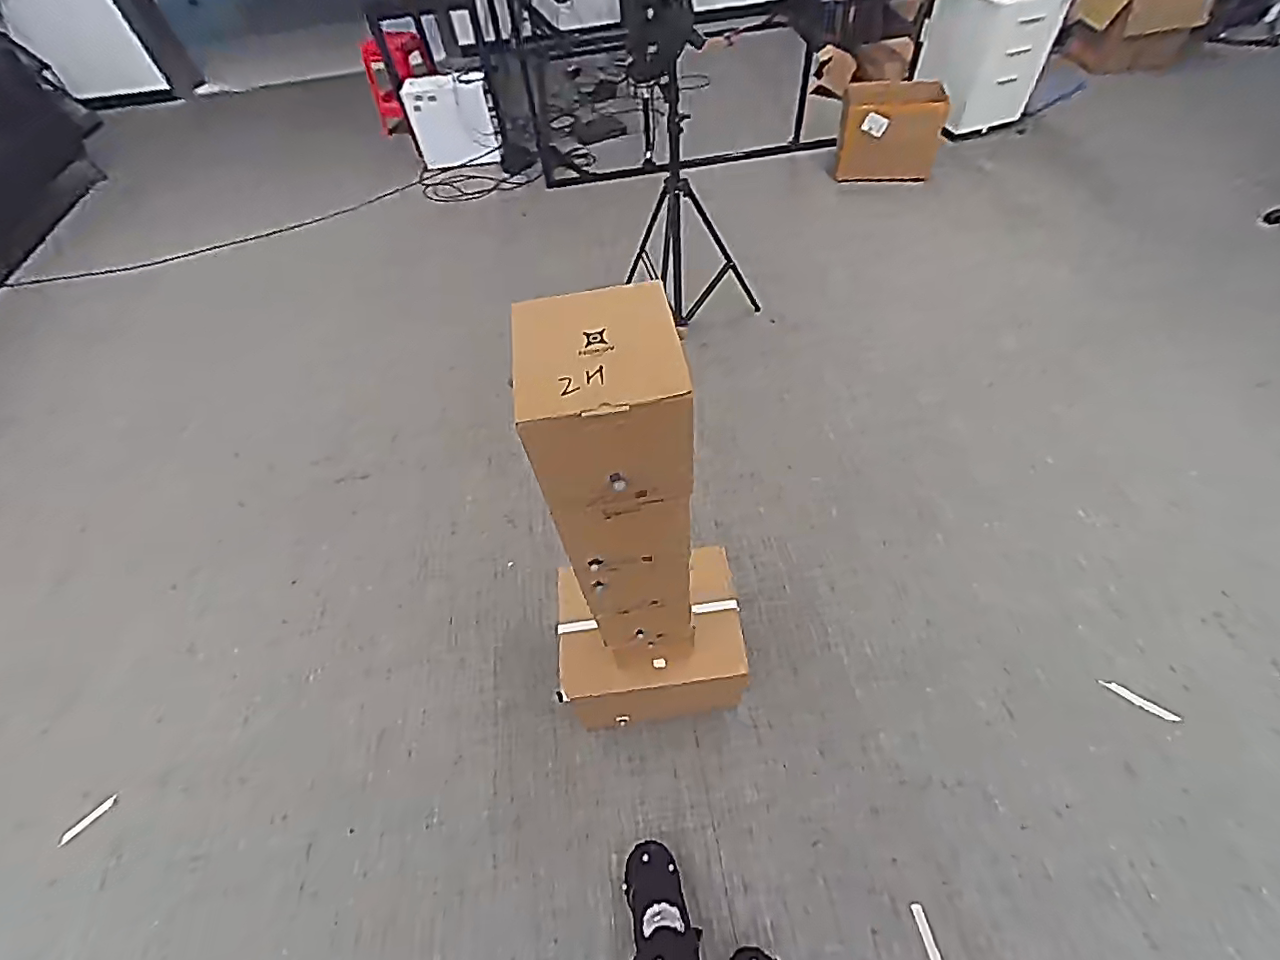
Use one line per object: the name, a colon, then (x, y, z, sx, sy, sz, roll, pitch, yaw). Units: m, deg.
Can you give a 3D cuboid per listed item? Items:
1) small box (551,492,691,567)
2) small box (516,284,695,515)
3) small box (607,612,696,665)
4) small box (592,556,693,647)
small box: (-0.023, 0.007, 0.737, 0.168, 0.176, 0.179, -7, 55, 0)
small box: (-0.036, -0.085, 0.601, 0.168, 0.176, 0.179, -10, 56, -1)
small box: (0.018, 0.278, 1.144, 0.179, 0.176, 0.168, -9, 55, -2)
small box: (0.002, 0.192, 1.007, 0.168, 0.176, 0.179, -9, 56, -1)
